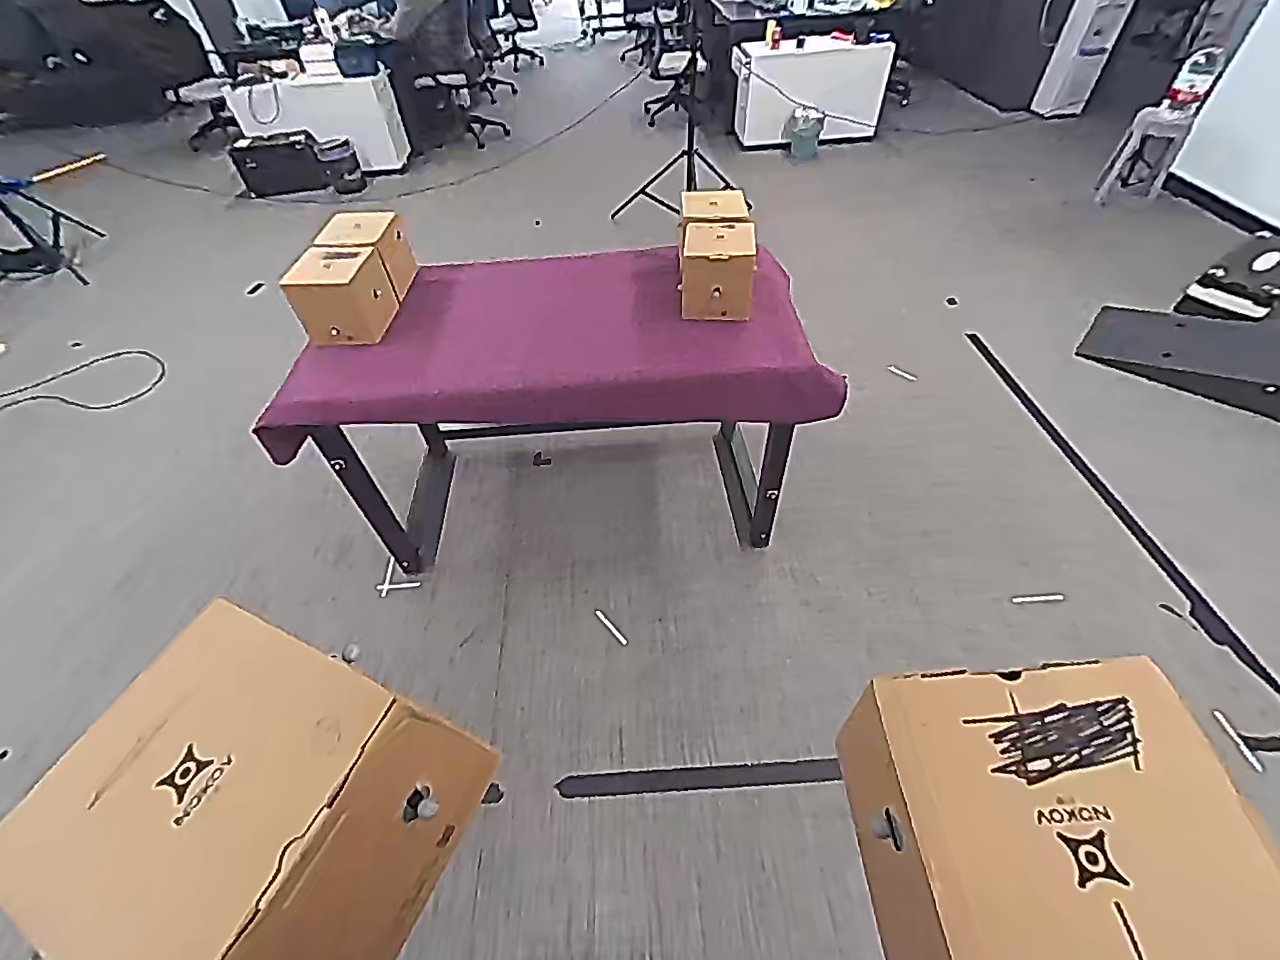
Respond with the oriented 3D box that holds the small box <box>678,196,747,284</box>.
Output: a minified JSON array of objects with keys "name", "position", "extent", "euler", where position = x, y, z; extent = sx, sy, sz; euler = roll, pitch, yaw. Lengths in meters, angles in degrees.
[{"name":"small box","position":[0.188,-0.650,1.463],"extent":[0.168,0.176,0.179],"euler":[-1,48,1]}]

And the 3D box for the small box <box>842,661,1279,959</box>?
[{"name":"small box","position":[0.240,0.234,0.342],"extent":[0.168,0.176,0.179],"euler":[-7,52,6]}]

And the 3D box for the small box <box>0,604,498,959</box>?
[{"name":"small box","position":[-0.227,0.214,0.361],"extent":[0.179,0.176,0.168],"euler":[14,56,22]}]

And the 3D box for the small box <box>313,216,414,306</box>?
[{"name":"small box","position":[-0.728,-0.588,1.452],"extent":[0.168,0.176,0.179],"euler":[-1,49,2]}]
